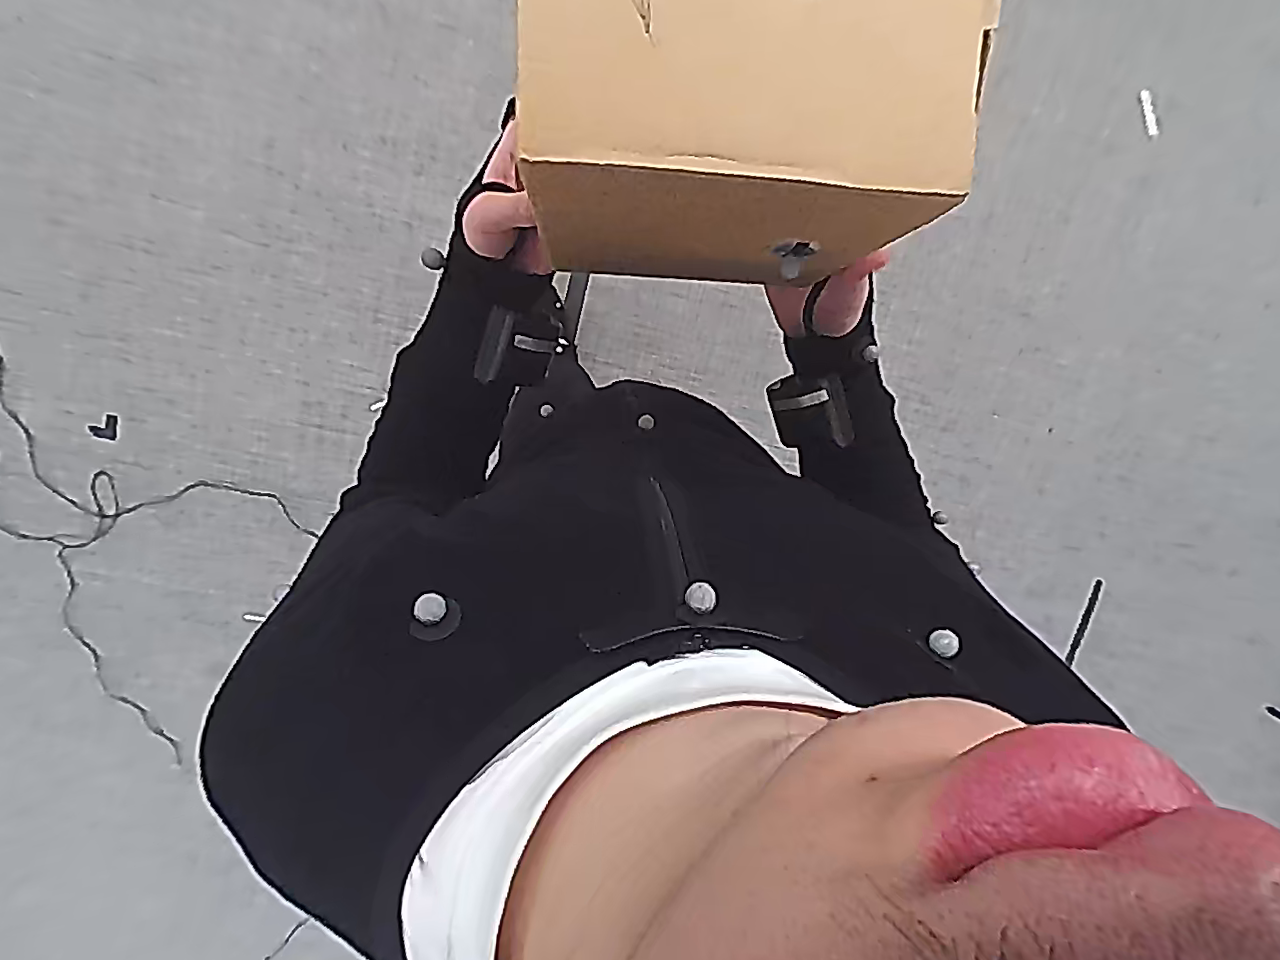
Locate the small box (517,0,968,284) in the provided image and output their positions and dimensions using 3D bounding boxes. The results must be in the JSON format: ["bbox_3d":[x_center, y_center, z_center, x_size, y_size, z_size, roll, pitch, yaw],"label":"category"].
[{"bbox_3d":[0.037,-0.206,0.282,0.179,0.176,0.168,2,97,-4],"label":"small box"}]
